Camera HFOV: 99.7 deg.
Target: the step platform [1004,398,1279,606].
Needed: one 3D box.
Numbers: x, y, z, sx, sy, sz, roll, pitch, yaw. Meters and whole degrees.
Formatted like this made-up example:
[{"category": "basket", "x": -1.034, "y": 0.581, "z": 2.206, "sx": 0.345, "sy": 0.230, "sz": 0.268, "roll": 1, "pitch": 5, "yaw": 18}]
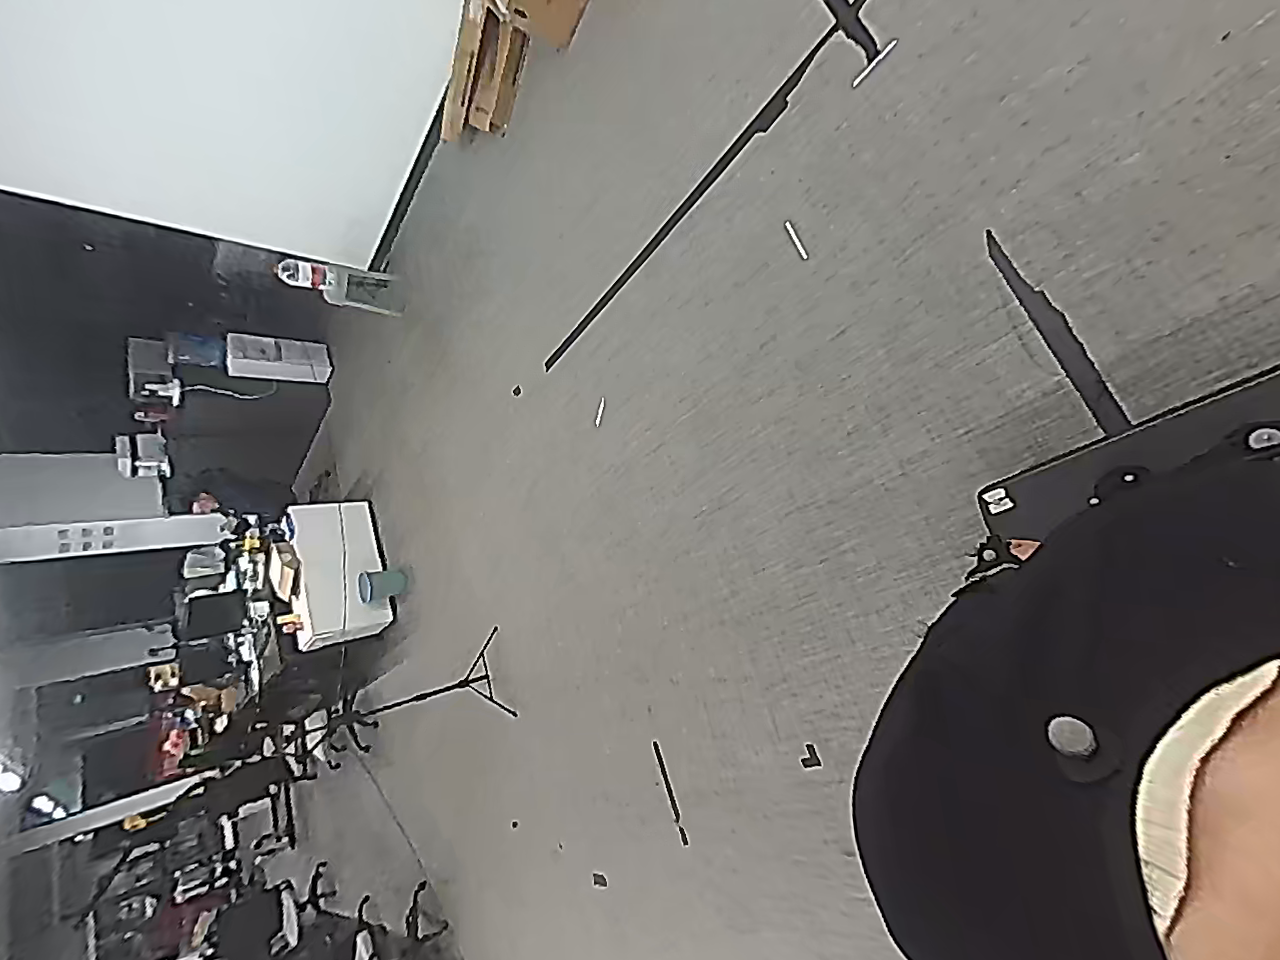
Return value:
[{"category": "step platform", "x": 1.108, "y": 0.031, "z": 1.029, "sx": 0.684, "sy": 0.204, "sz": 0.286, "roll": -29, "pitch": 71, "yaw": 41}]
